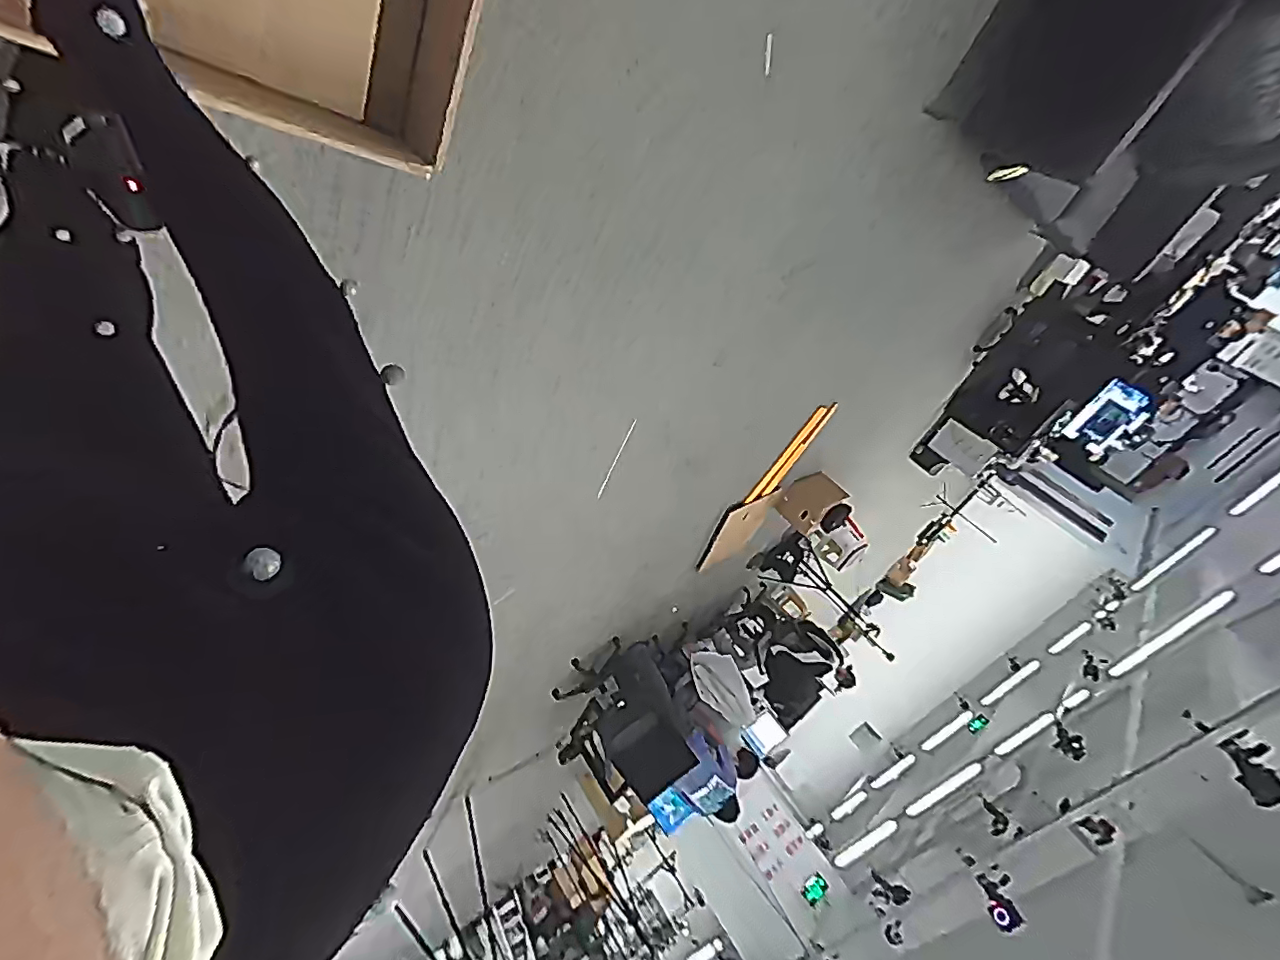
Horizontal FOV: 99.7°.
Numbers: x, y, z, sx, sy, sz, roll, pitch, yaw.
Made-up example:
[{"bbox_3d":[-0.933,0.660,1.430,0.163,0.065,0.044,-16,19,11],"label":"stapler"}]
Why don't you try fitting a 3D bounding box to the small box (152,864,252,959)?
[{"bbox_3d":[-1.064,1.085,1.314,0.168,0.176,0.179,-10,138,-45],"label":"small box"}]
